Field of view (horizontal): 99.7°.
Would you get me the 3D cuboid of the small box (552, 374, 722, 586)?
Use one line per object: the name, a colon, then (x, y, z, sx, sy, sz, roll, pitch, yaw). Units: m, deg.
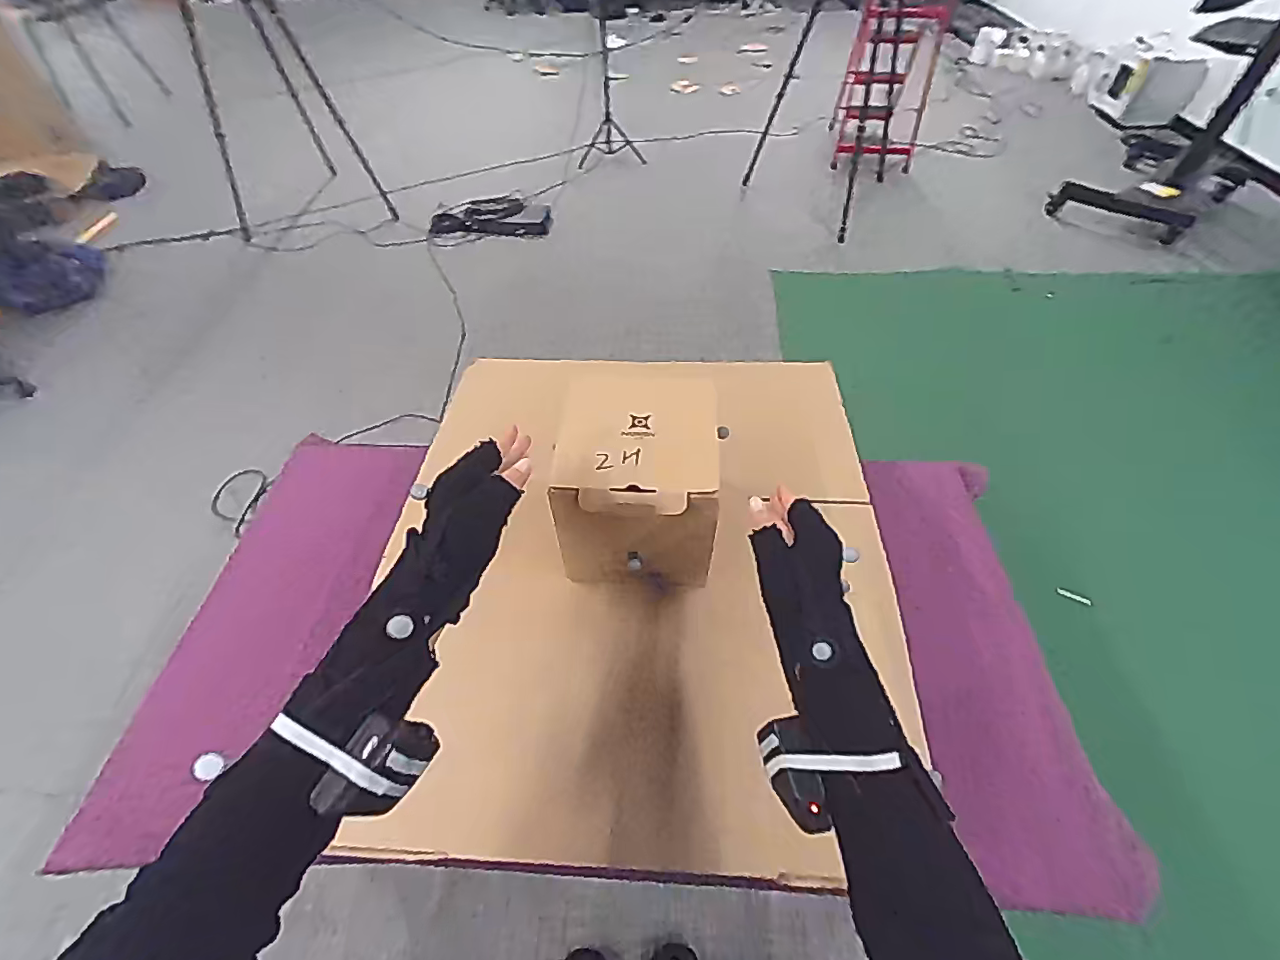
small box: (0.002, 0.000, 0.623, 0.168, 0.176, 0.179, 2, 50, 3)
